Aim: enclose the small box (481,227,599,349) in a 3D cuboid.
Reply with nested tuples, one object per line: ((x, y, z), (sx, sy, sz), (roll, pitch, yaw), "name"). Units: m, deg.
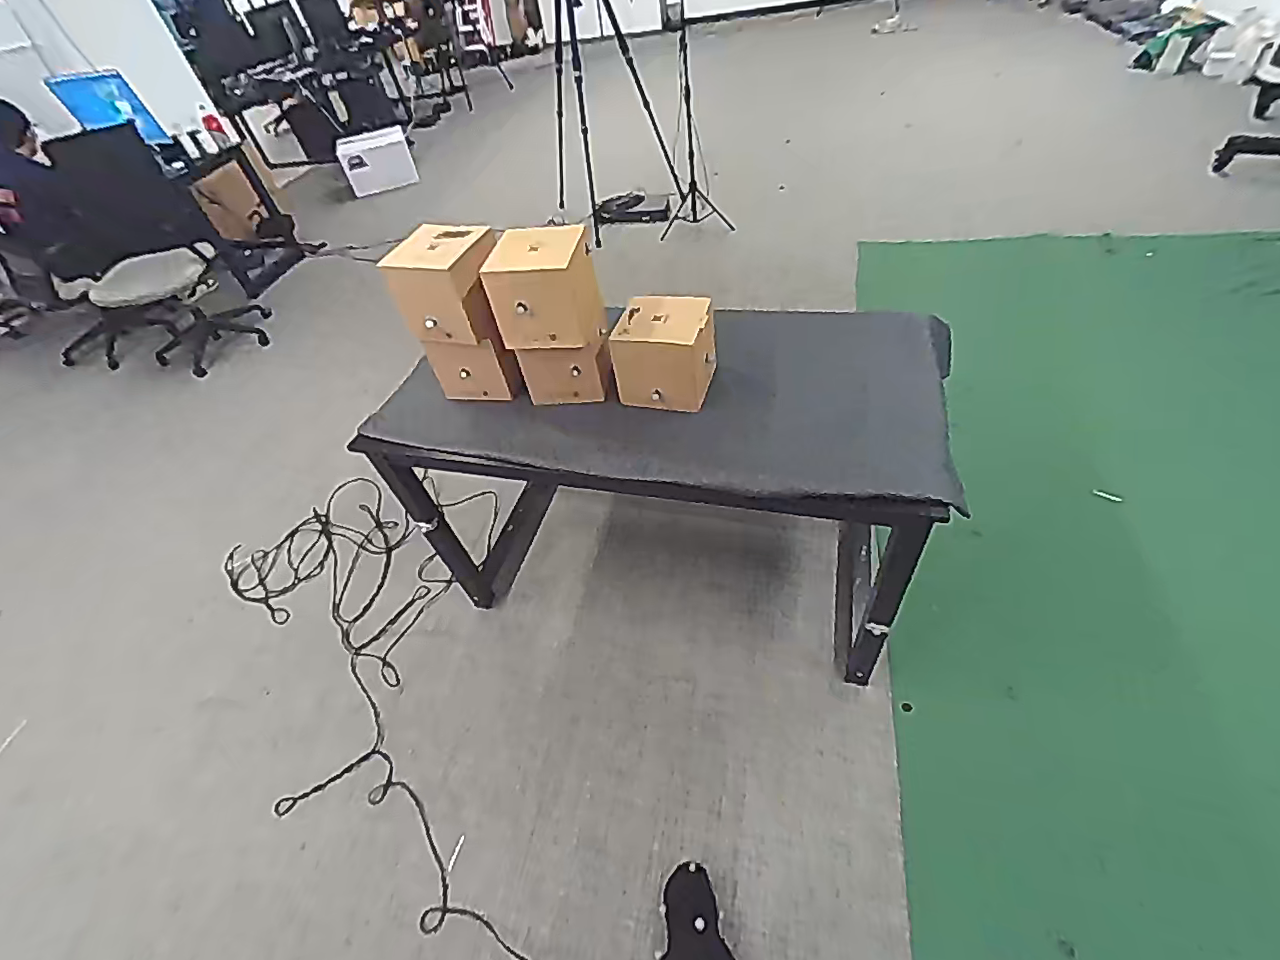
((-0.183, -0.371, 1.060), (0.168, 0.176, 0.179), (1, 48, 9), "small box")
